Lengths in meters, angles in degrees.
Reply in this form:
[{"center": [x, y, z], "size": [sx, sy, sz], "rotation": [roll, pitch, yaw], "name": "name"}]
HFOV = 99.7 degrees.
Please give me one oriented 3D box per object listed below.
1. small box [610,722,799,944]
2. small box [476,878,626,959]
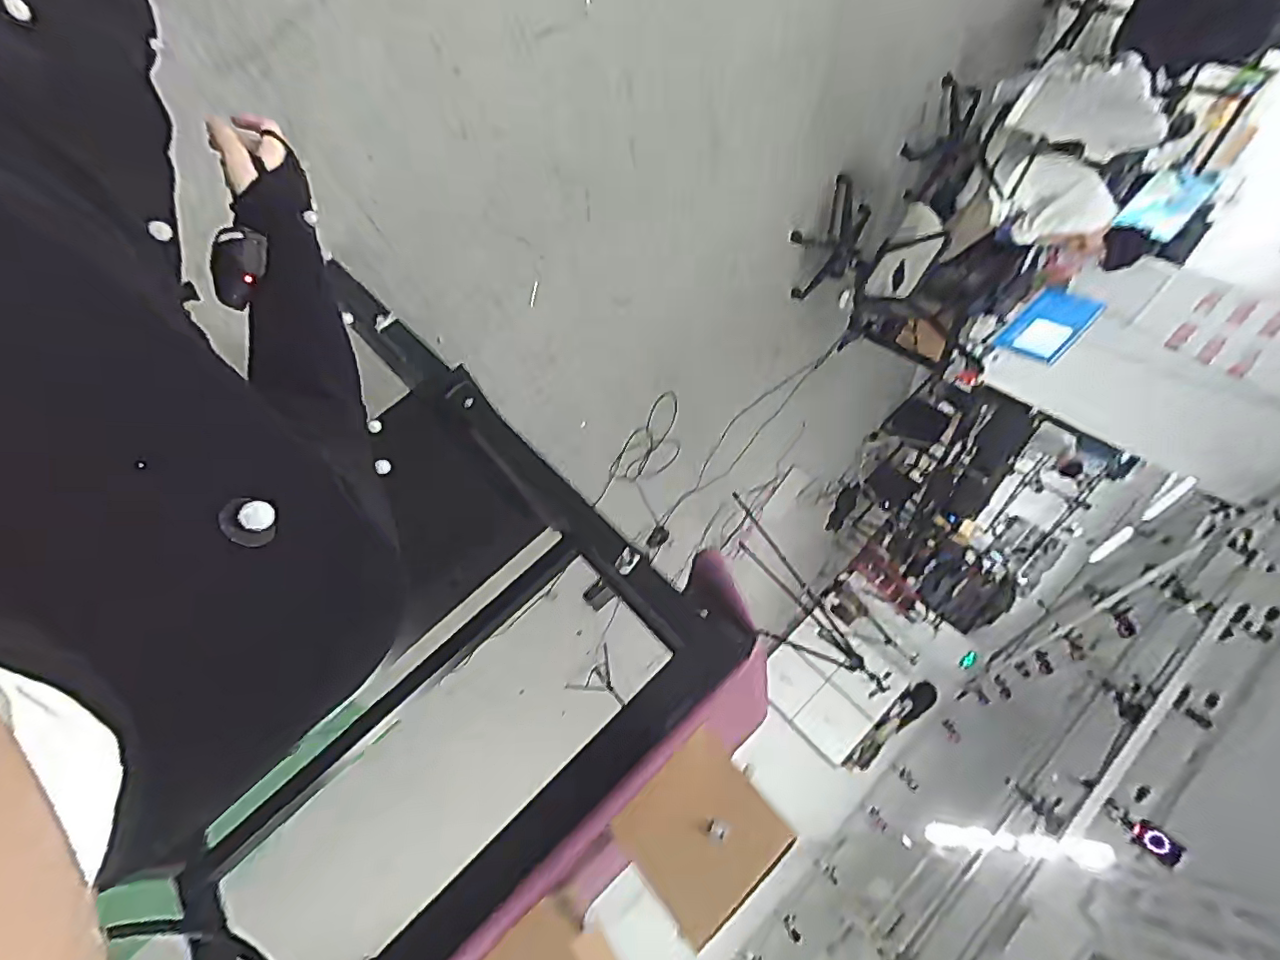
[{"center": [0.087, 0.460, 0.731], "size": [0.179, 0.176, 0.168], "rotation": [-41, 149, -15], "name": "small box"}, {"center": [-0.116, 0.646, 0.674], "size": [0.179, 0.176, 0.168], "rotation": [-41, 150, -16], "name": "small box"}]
